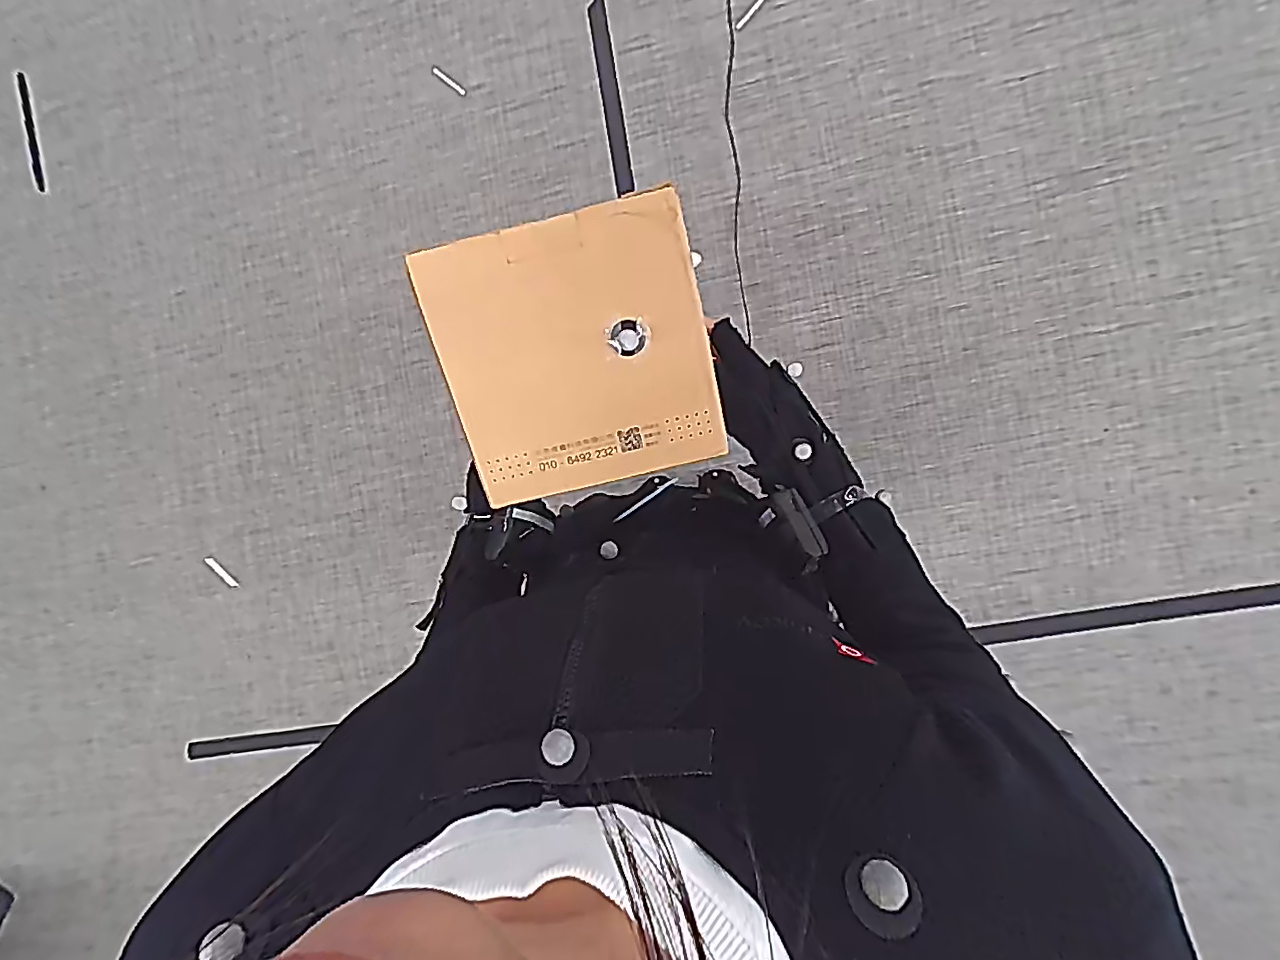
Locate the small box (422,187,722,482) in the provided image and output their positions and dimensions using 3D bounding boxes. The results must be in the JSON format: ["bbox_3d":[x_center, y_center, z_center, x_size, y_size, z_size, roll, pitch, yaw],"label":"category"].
[{"bbox_3d":[-0.037,-0.107,0.430,0.168,0.179,0.176,-12,109,5],"label":"small box"}]
